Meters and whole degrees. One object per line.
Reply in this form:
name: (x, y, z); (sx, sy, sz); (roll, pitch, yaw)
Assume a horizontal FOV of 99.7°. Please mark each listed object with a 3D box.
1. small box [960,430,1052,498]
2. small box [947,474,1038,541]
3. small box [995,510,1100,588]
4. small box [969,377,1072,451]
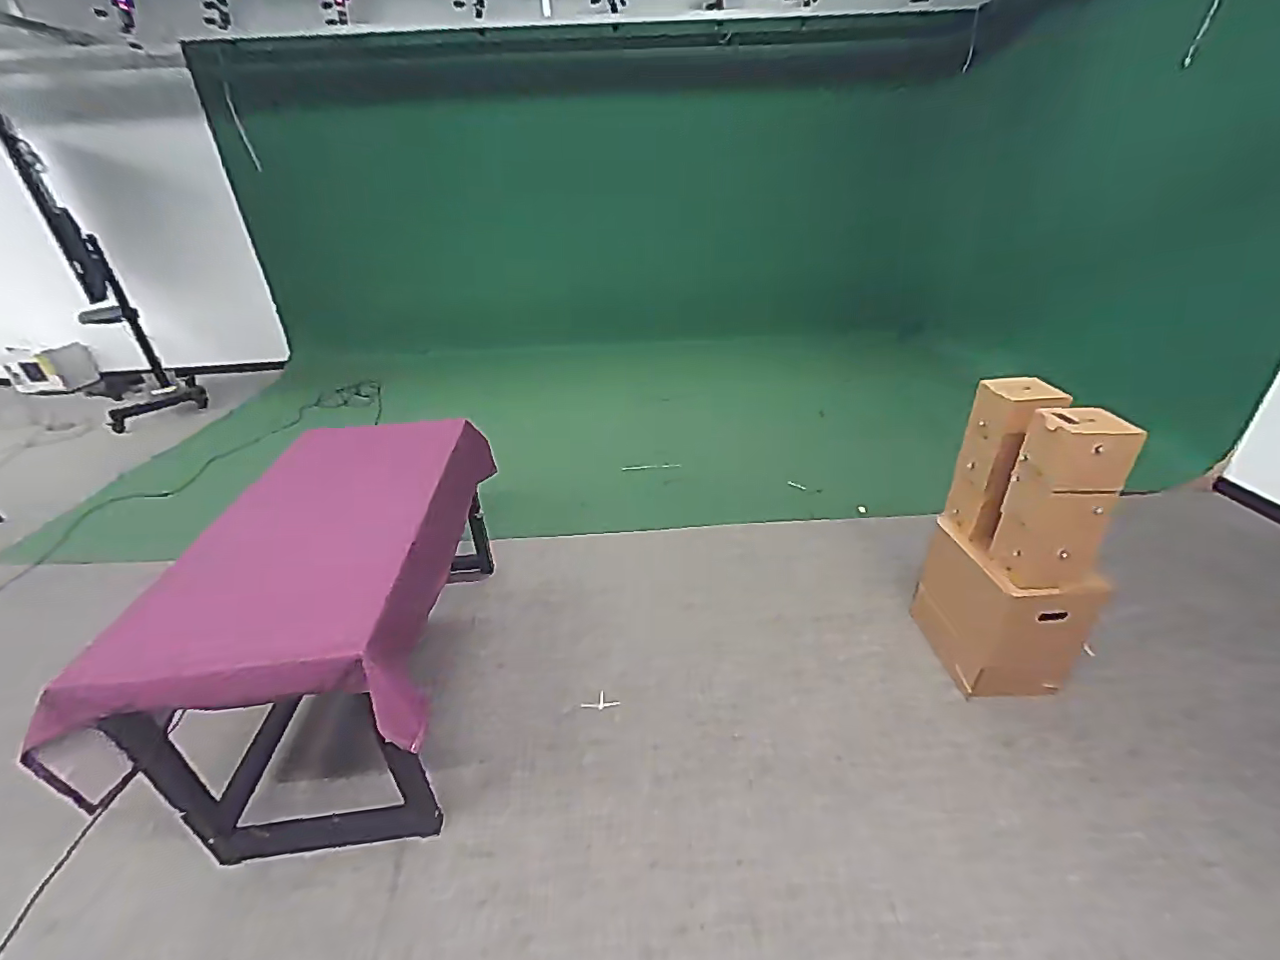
small box: (1.142, -0.054, 1.709); (0.179, 0.176, 0.168); (-4, 31, 1)
small box: (1.157, 0.087, 1.791); (0.179, 0.176, 0.168); (-5, 31, 0)
small box: (1.179, 0.202, 1.585); (0.179, 0.176, 0.168); (-2, 29, 2)
small box: (1.135, -0.199, 1.628); (0.179, 0.176, 0.168); (-4, 30, 1)
